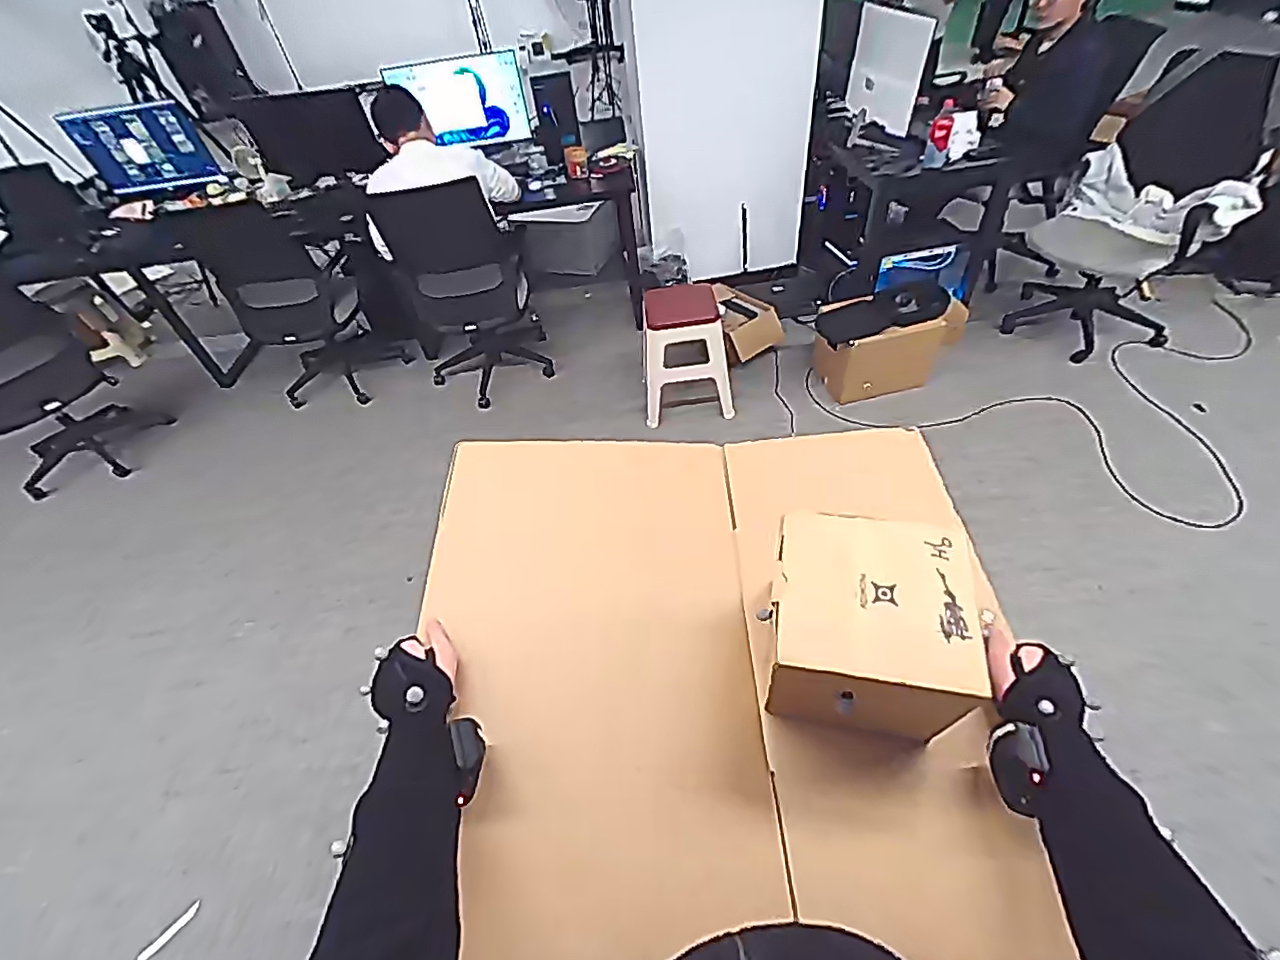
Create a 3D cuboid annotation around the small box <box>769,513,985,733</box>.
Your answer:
[{"bbox_3d":[0.233,0.154,0.576,0.179,0.176,0.168,5,55,14],"label":"small box"}]
